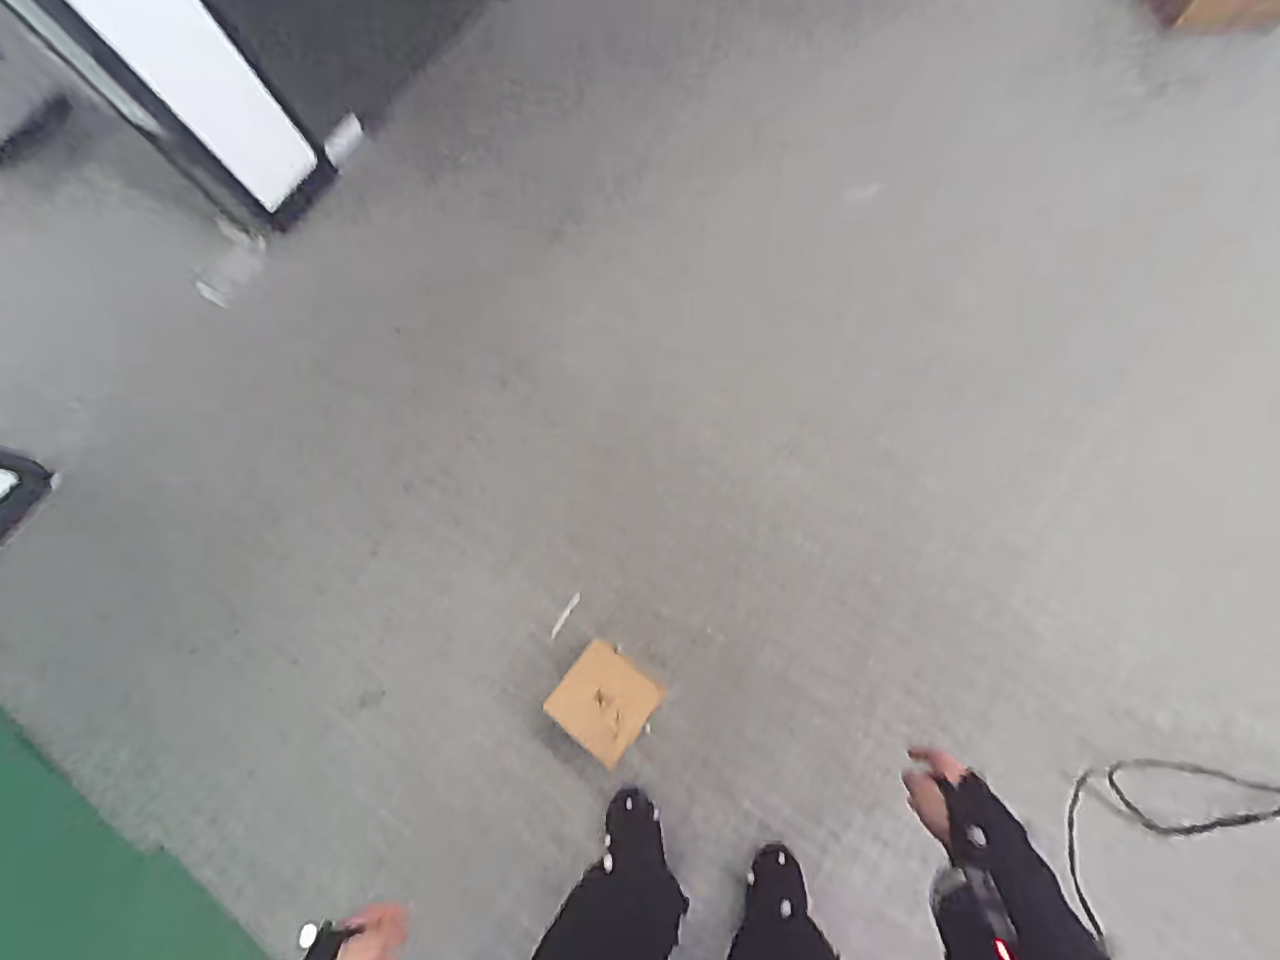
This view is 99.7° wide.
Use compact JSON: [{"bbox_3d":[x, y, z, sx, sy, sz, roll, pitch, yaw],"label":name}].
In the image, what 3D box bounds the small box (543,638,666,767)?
[{"bbox_3d":[-0.064,0.449,1.109,0.179,0.176,0.168,36,79,16],"label":"small box"}]
